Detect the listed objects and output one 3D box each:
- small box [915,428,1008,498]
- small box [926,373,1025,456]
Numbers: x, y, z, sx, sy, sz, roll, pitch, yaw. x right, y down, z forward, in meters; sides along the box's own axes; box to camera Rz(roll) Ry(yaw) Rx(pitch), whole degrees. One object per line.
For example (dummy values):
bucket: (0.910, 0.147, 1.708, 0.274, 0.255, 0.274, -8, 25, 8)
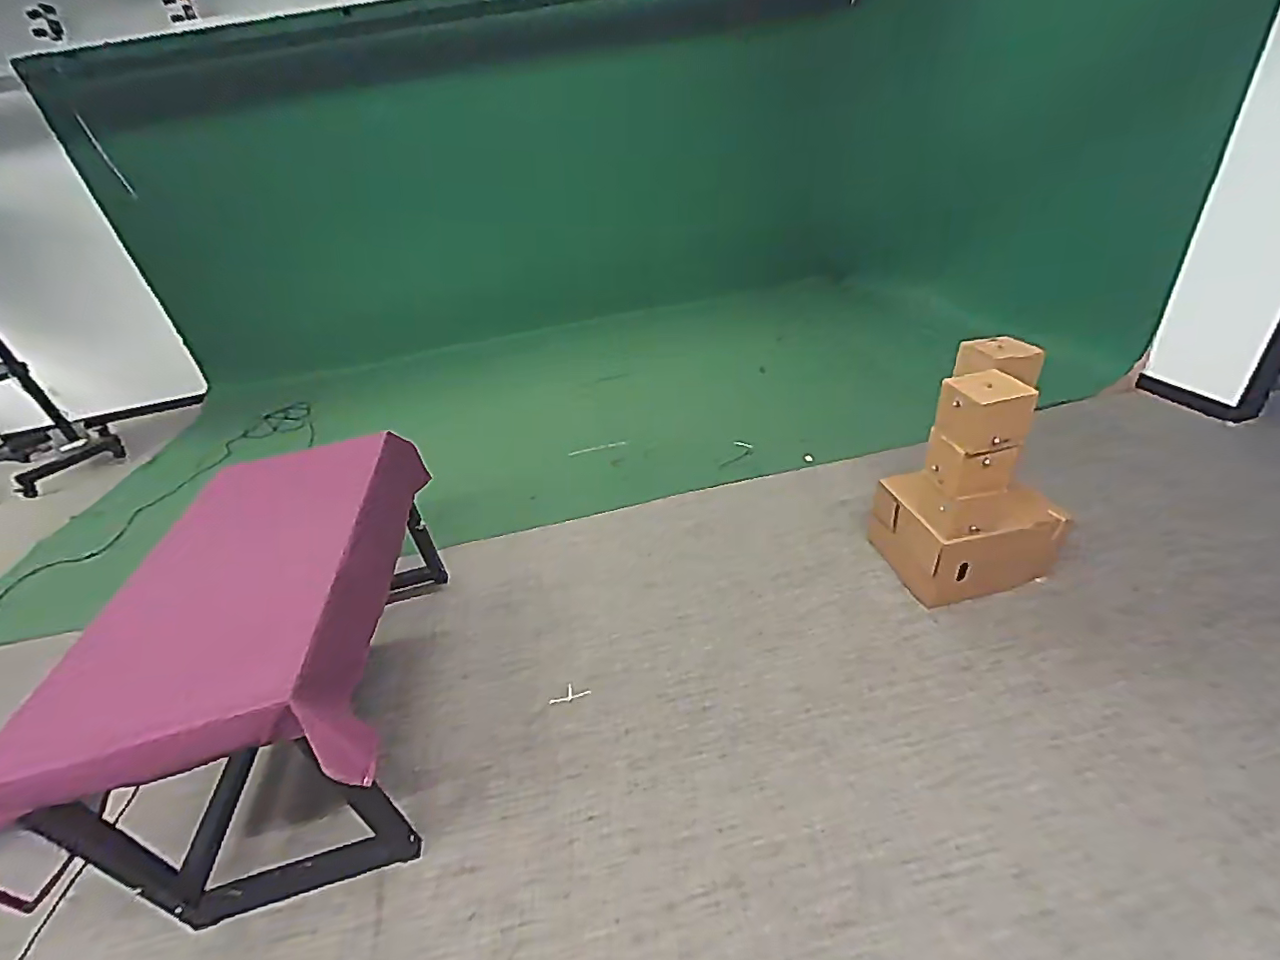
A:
small box: (0.993, -0.063, 1.687, 0.179, 0.176, 0.168, -10, 34, -1)
small box: (0.976, -0.193, 1.592, 0.168, 0.176, 0.179, -12, 35, -4)
